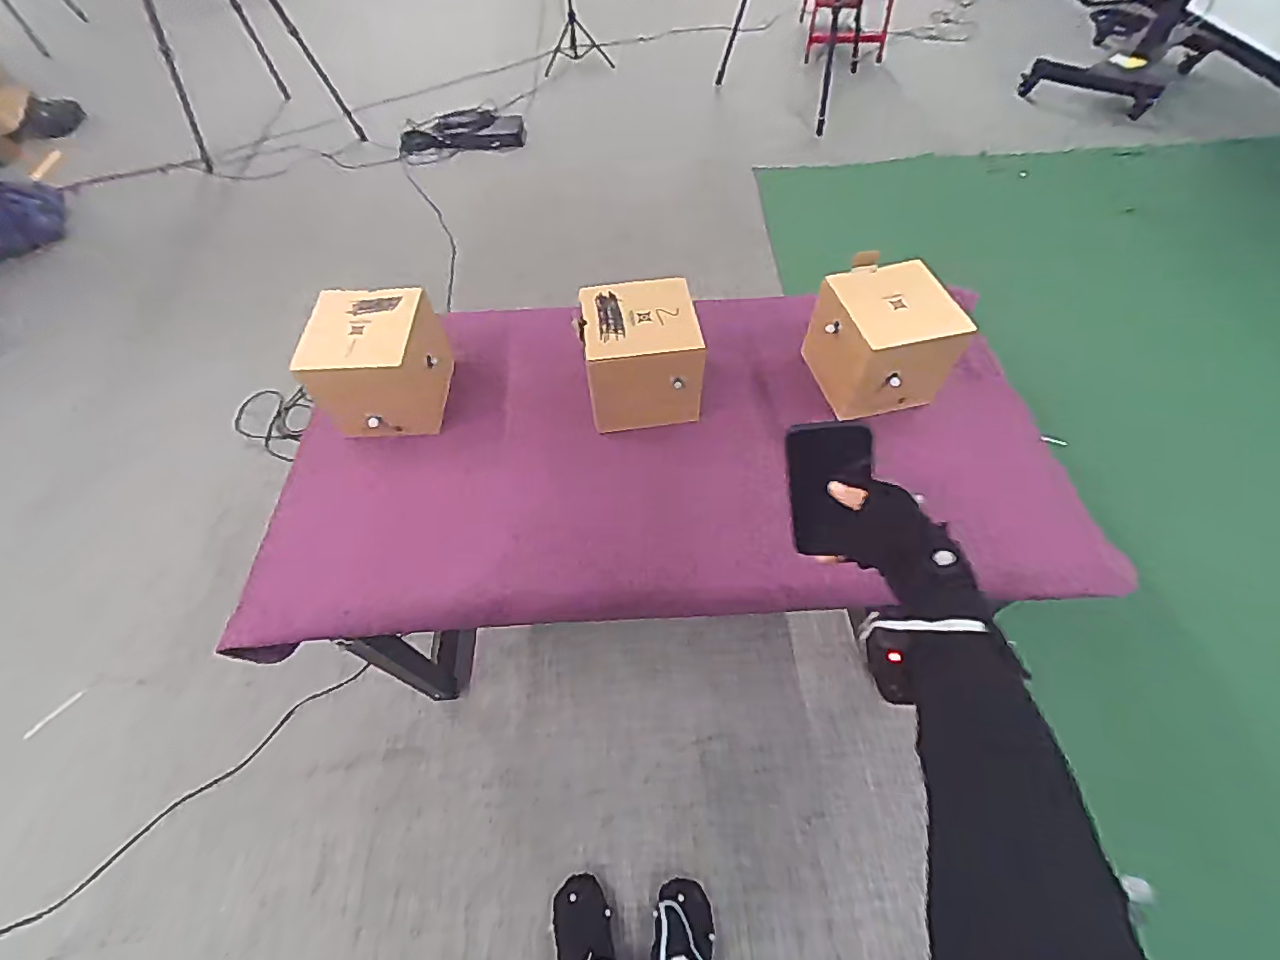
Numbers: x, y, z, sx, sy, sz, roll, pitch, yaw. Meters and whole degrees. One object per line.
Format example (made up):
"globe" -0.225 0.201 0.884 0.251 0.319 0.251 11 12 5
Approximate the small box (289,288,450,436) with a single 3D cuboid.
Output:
"small box" -0.425 -0.190 0.887 0.168 0.176 0.179 -2 59 0

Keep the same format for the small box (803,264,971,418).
"small box" 0.389 -0.220 0.887 0.168 0.176 0.179 -12 57 -5
